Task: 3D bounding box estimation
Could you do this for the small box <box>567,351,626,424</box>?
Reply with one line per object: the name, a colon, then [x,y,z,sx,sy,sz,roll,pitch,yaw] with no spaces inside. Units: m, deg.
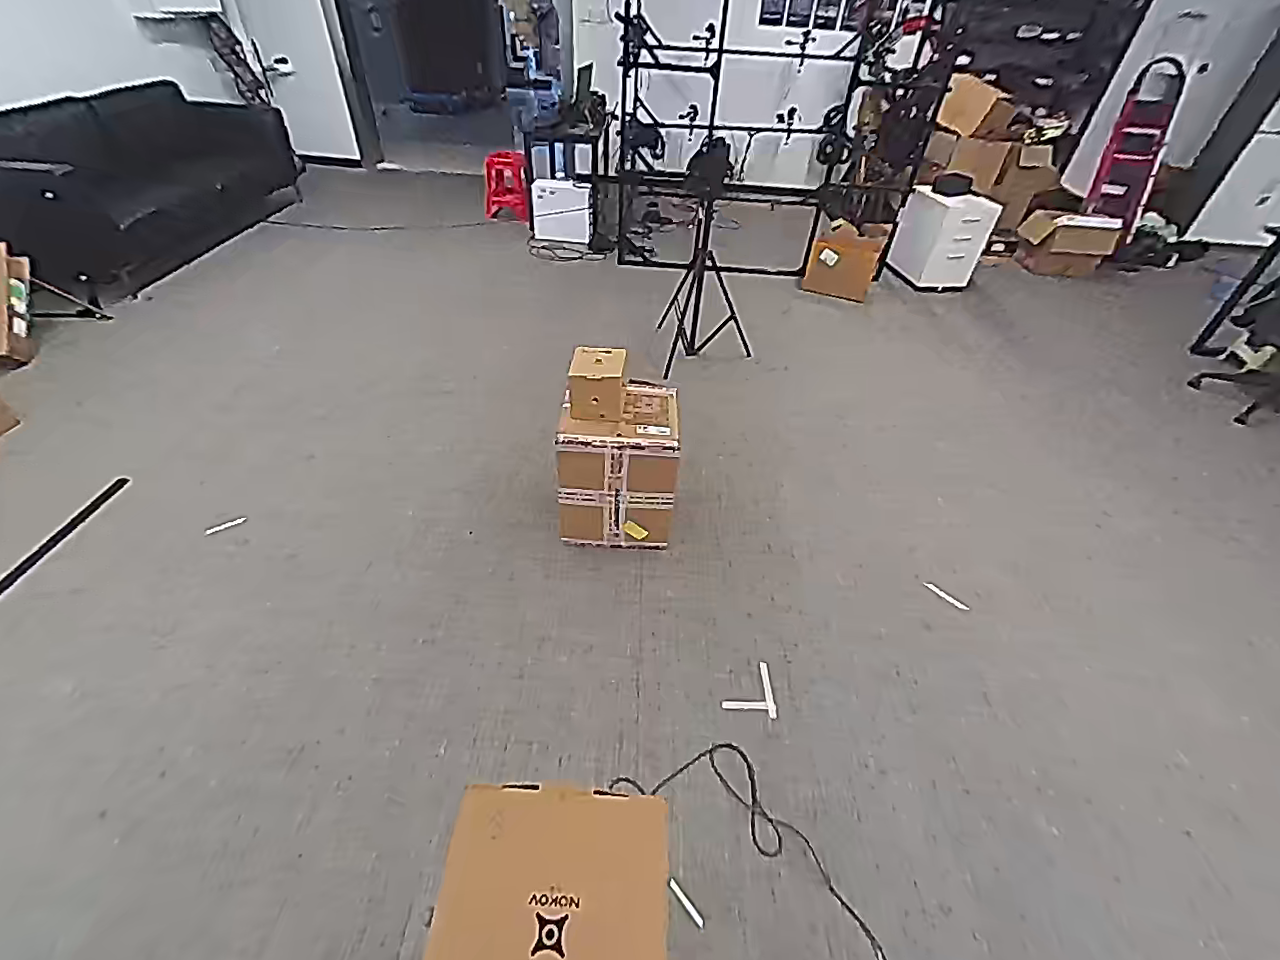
small box: [-0.136,-0.300,1.762,0.168,0.176,0.179,4,44,3]
